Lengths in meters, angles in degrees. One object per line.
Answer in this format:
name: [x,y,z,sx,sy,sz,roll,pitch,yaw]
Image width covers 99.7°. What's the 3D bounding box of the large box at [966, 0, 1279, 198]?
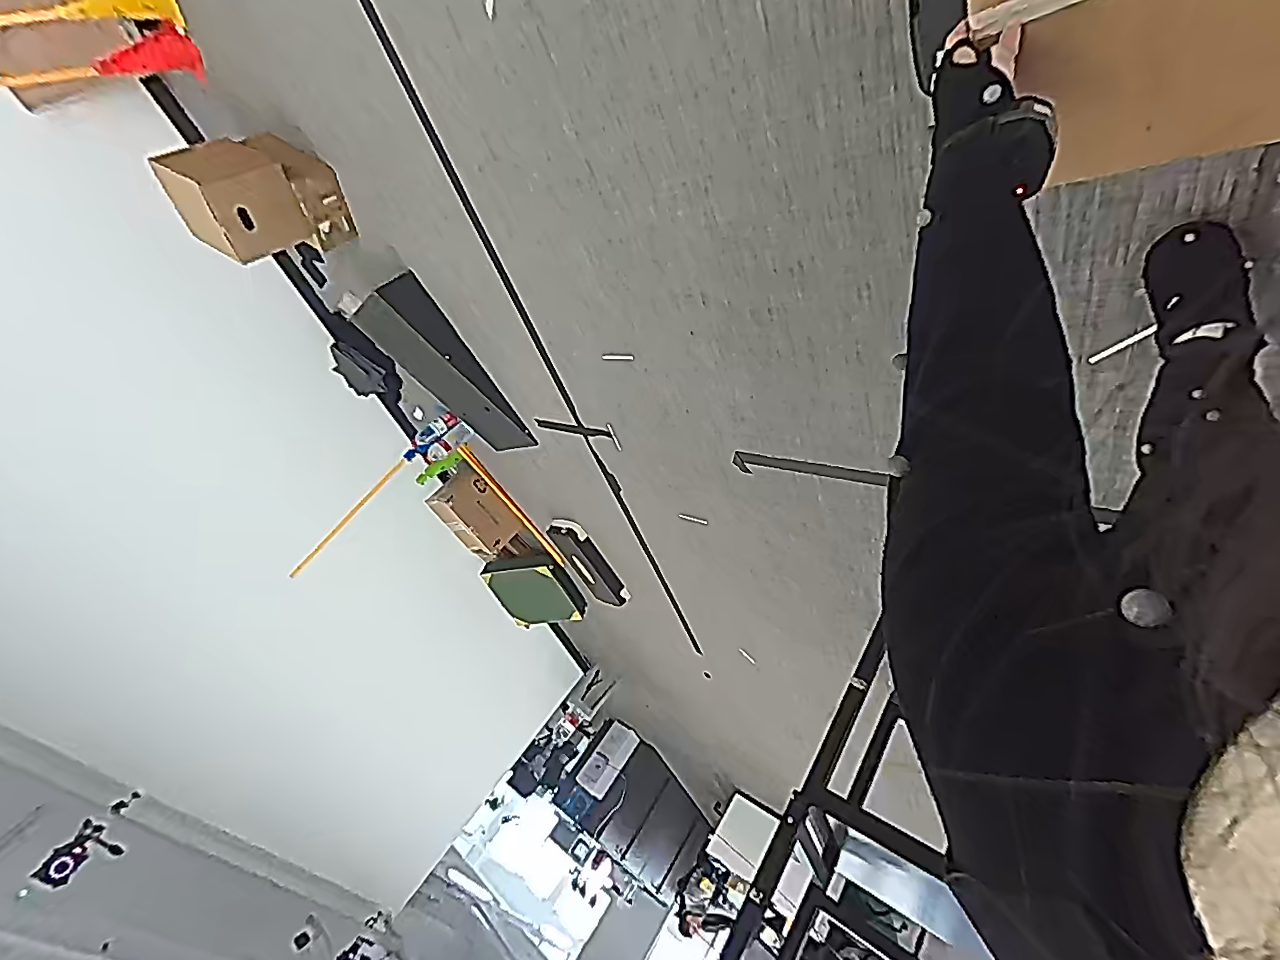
large box: [0.535,-0.489,0.437,0.408,0.320,0.320,11,137,44]
